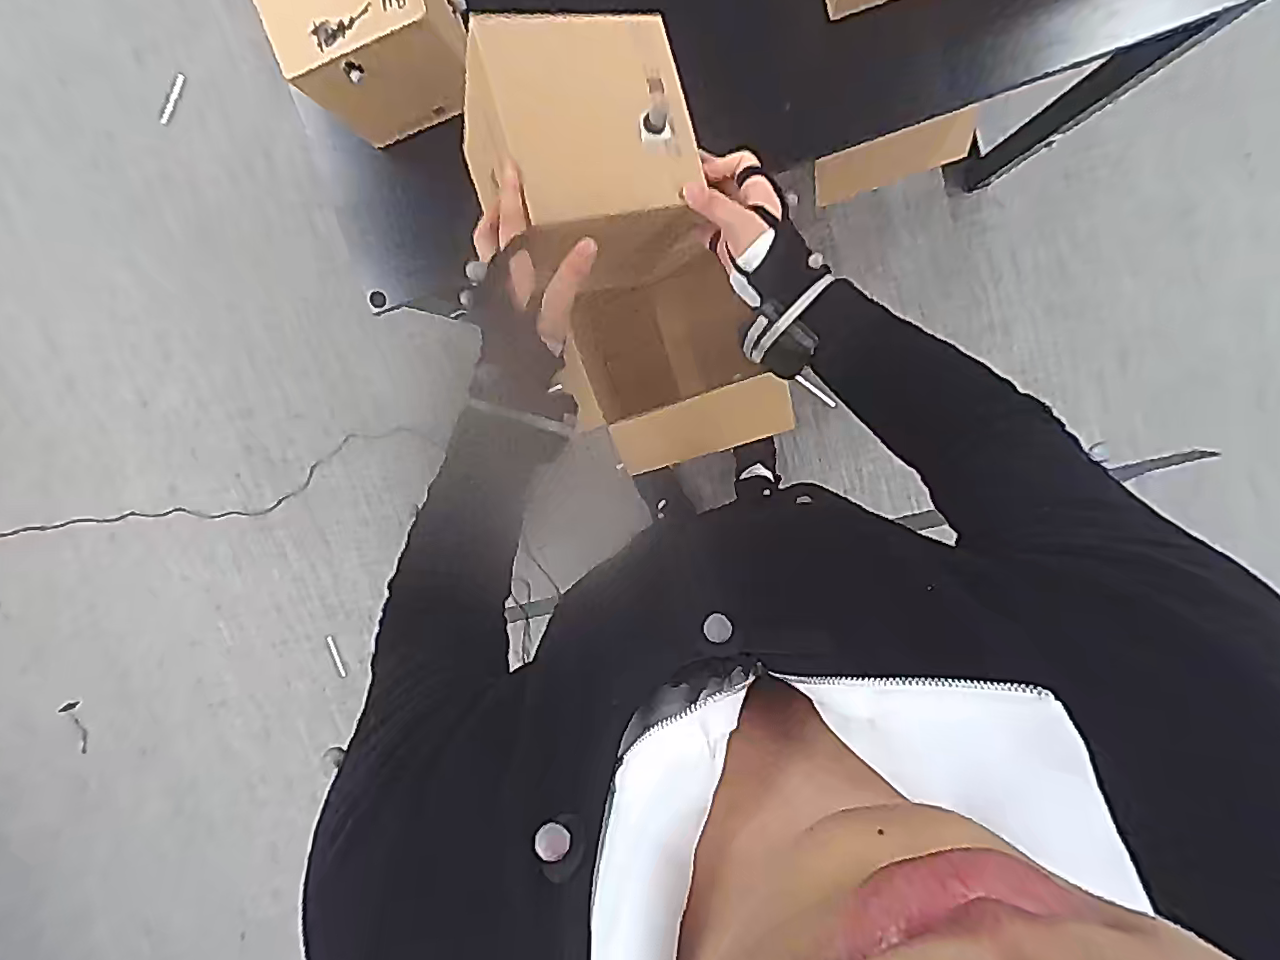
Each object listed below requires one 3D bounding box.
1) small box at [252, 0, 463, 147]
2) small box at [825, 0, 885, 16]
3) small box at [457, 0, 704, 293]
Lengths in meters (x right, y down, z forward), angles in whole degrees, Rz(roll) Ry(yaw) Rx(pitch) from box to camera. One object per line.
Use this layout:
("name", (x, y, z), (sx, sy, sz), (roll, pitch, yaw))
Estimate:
("small box", (-0.304, -0.520, 0.605), (0.168, 0.176, 0.179), (-17, 98, 8))
("small box", (0.274, -0.619, 0.534), (0.179, 0.176, 0.168), (-14, 98, 7))
("small box", (-0.063, -0.299, 0.515), (0.176, 0.179, 0.168), (-19, 93, -22))
